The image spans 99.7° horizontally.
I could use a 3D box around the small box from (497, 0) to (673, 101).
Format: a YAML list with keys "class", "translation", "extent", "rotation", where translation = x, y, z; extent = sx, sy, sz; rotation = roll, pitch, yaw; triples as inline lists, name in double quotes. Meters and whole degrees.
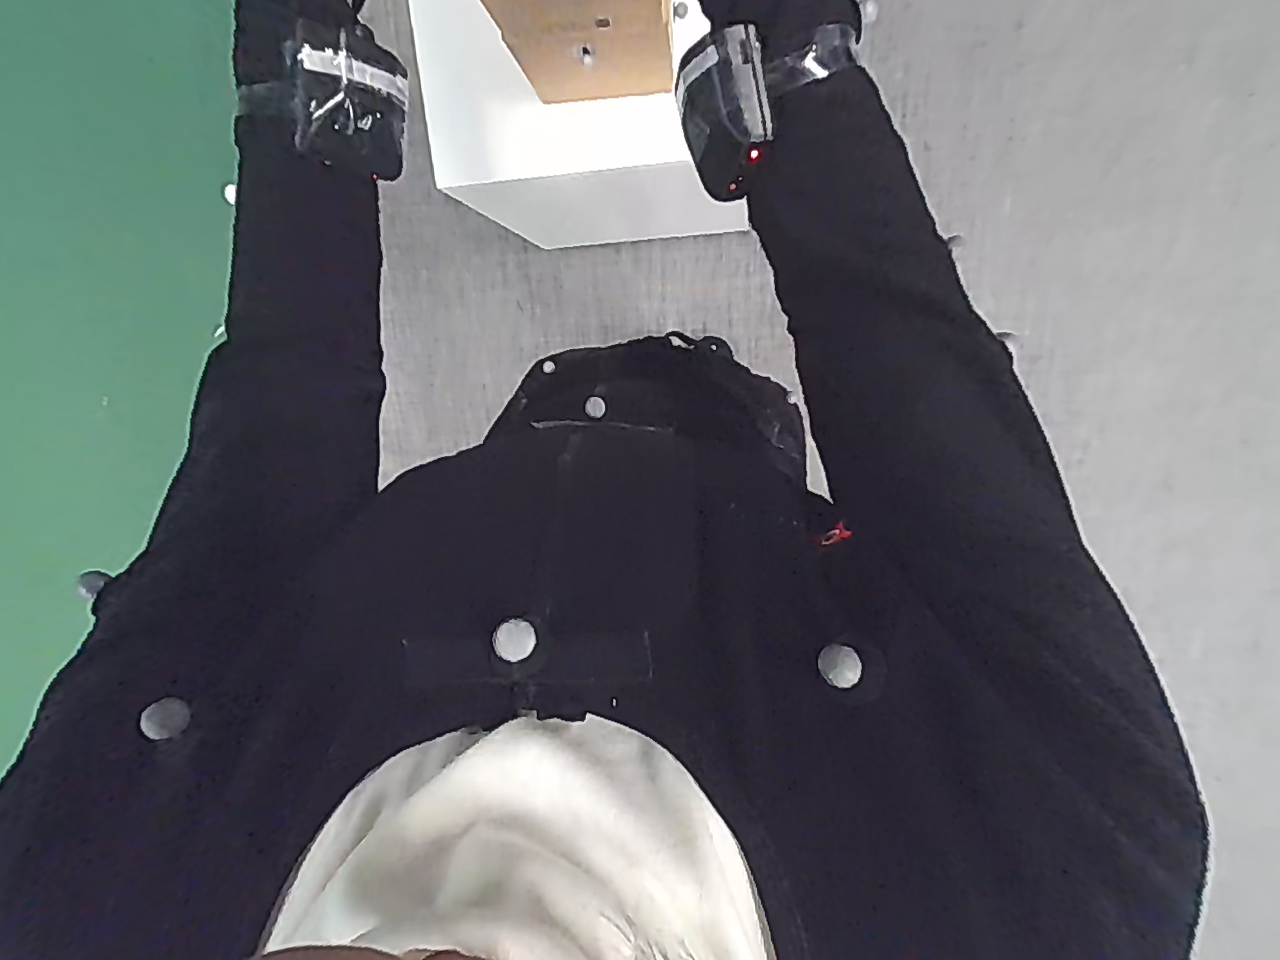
- class: "small box"
  translation: [-0.055, -0.556, 0.609]
  extent: [0.179, 0.176, 0.168]
  rotation: [-1, 105, 5]

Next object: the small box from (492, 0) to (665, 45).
- class: "small box"
  translation: [-0.066, -0.516, 0.454]
  extent: [0.168, 0.176, 0.179]
  rotation: [-3, 105, 6]
